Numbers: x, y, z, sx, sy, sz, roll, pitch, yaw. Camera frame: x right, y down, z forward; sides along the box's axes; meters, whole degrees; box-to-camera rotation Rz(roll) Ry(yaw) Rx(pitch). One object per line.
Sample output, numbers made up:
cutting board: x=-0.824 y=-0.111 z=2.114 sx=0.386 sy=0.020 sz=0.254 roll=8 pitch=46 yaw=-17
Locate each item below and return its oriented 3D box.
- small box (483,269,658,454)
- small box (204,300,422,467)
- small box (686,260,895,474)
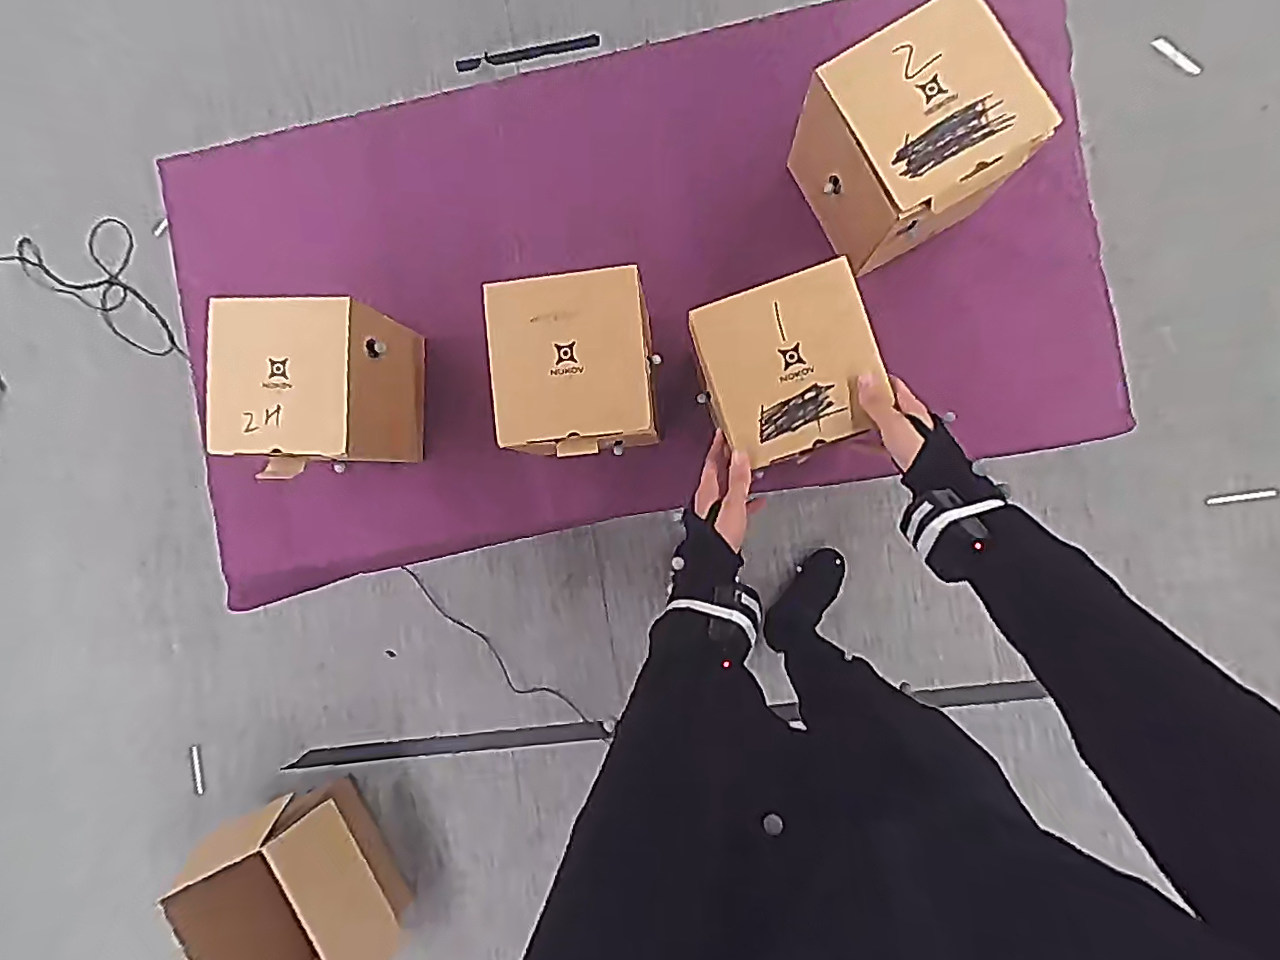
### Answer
small box: x=-0.071 y=-0.124 z=0.641 sx=0.168 sy=0.176 sz=0.179 roll=-6 pitch=89 yaw=5
small box: x=-0.387 y=-0.108 z=0.666 sx=0.168 sy=0.176 sz=0.179 roll=1 pitch=91 yaw=5
small box: x=0.158 y=-0.112 z=0.618 sx=0.168 sy=0.176 sz=0.179 roll=-18 pitch=87 yaw=5
